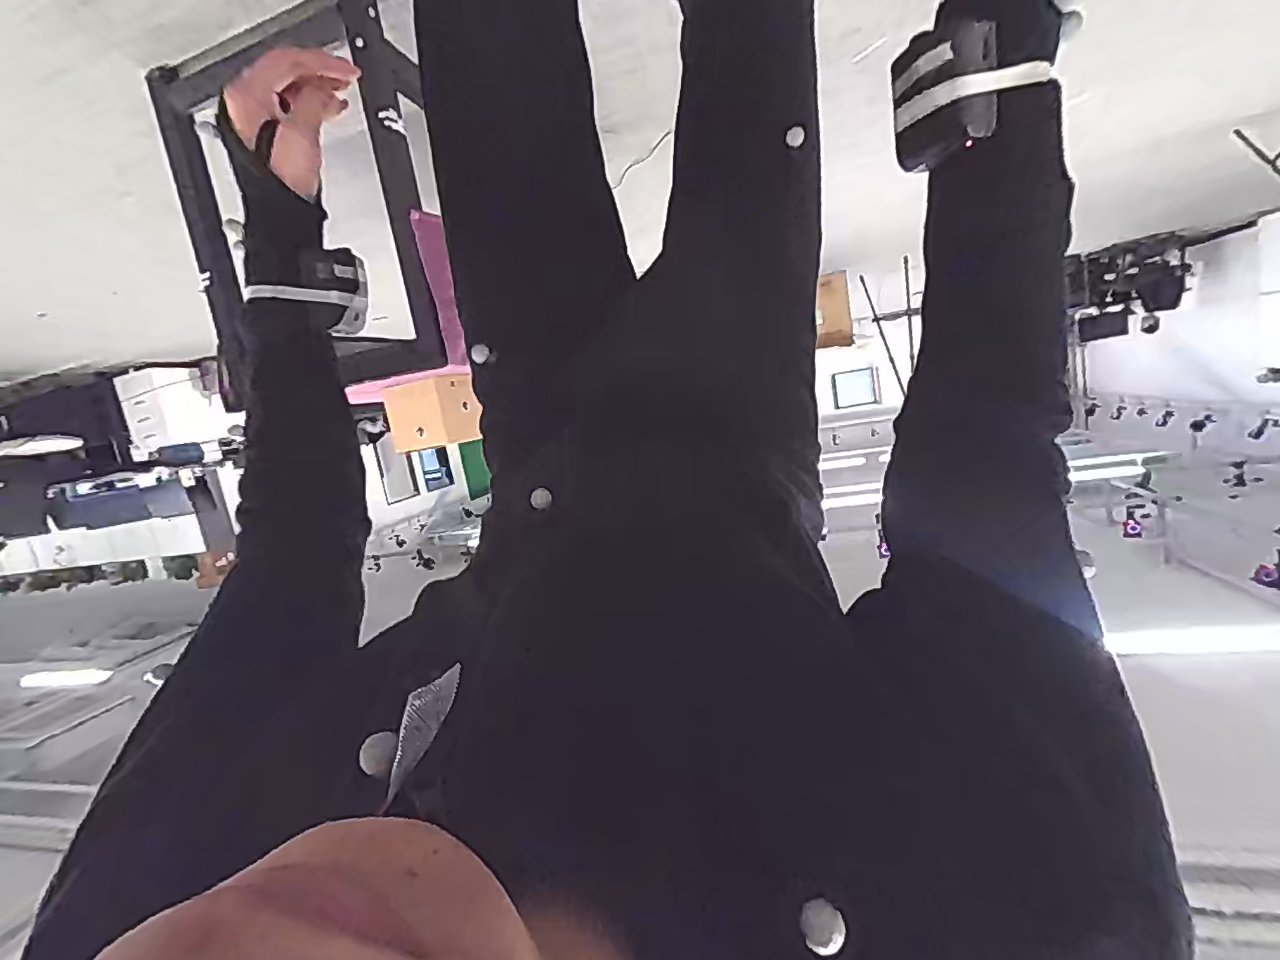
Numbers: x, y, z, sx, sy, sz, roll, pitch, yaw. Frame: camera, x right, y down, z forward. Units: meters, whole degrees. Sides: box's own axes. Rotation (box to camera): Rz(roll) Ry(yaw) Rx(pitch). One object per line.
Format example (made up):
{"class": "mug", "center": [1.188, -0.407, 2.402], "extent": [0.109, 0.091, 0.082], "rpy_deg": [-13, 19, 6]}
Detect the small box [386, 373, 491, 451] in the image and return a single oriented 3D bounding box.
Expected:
{"class": "small box", "center": [-0.519, -0.180, 1.391], "extent": [0.179, 0.176, 0.168], "rpy_deg": [-6, -170, 23]}
